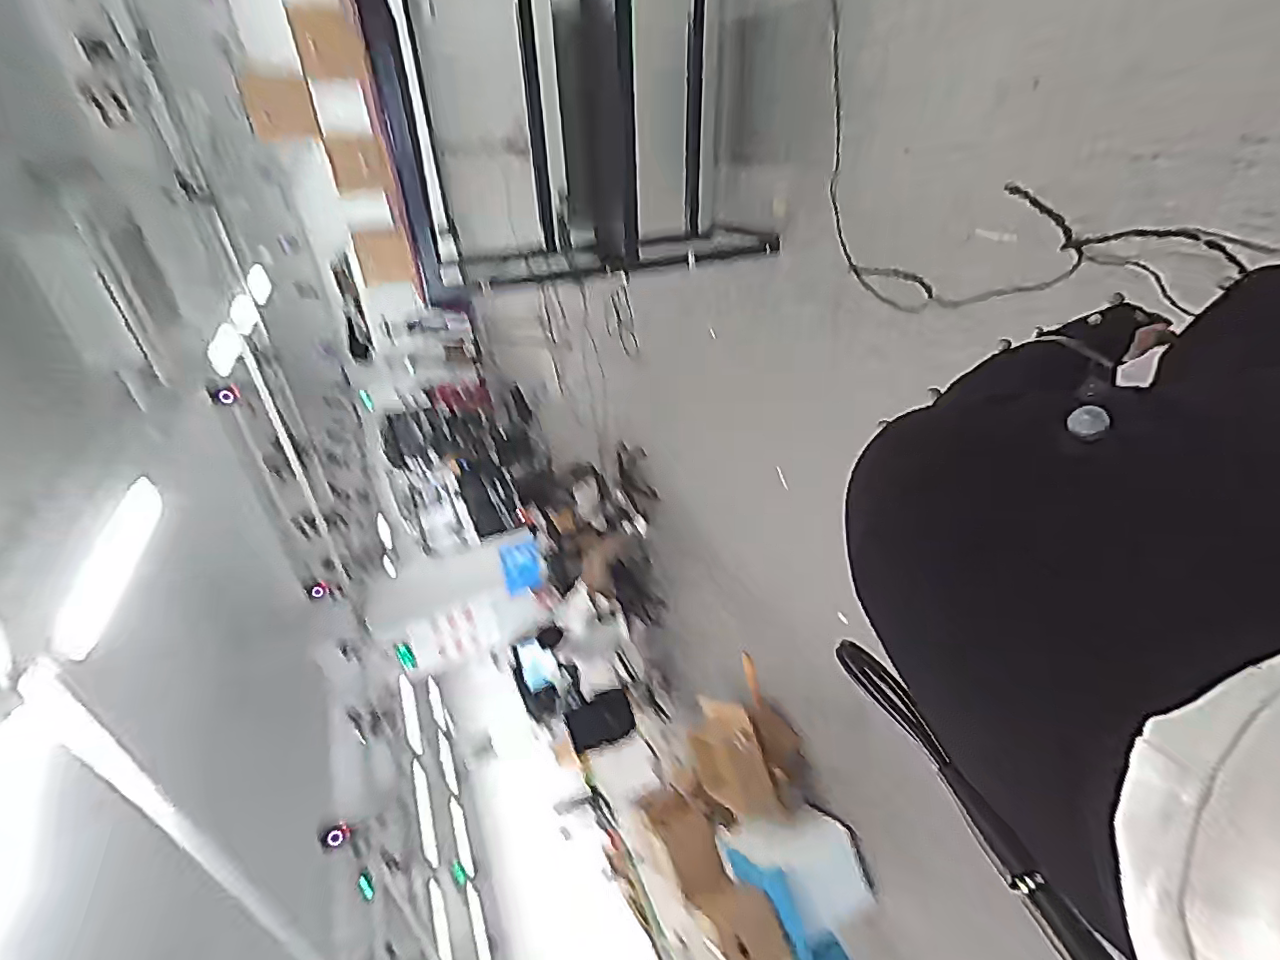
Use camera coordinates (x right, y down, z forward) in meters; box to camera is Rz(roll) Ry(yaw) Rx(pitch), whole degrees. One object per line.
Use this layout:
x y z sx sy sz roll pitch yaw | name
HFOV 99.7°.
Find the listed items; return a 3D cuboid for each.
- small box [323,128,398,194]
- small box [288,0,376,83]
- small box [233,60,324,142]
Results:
-0.846 -0.972 1.644 0.179 0.176 0.168 -133 35 -51 | small box
-0.848 -1.211 1.494 0.168 0.176 0.179 -130 31 -50 | small box
-0.997 -1.055 1.515 0.168 0.176 0.179 -133 36 -52 | small box
